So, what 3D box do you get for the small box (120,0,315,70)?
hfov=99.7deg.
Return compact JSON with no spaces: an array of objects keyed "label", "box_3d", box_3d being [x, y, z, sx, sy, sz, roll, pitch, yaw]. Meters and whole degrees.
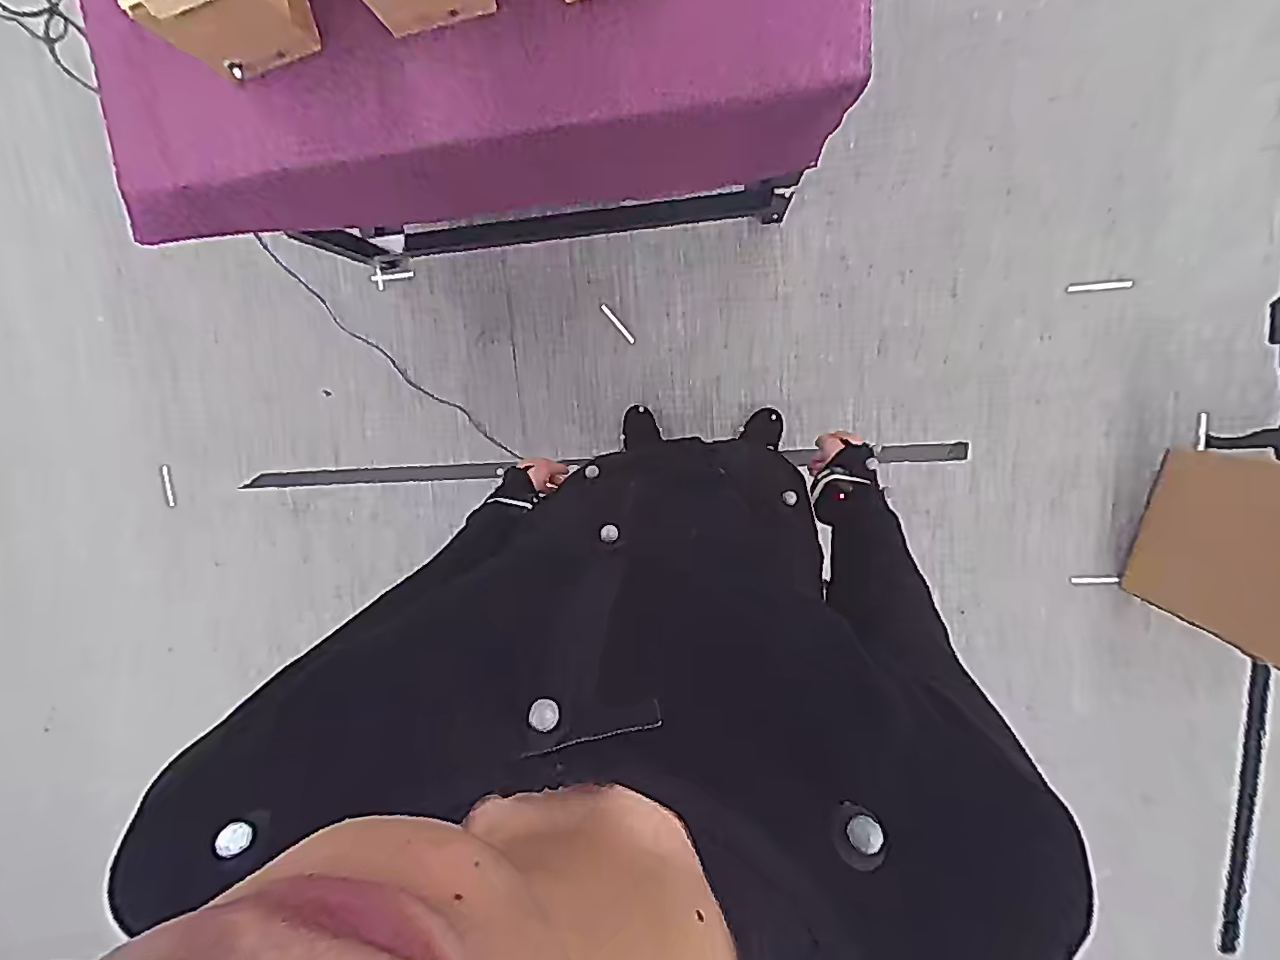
[{"label":"small box","box_3d":[-0.595,-0.714,0.749,0.168,0.176,0.179,-13,97,9]}]
